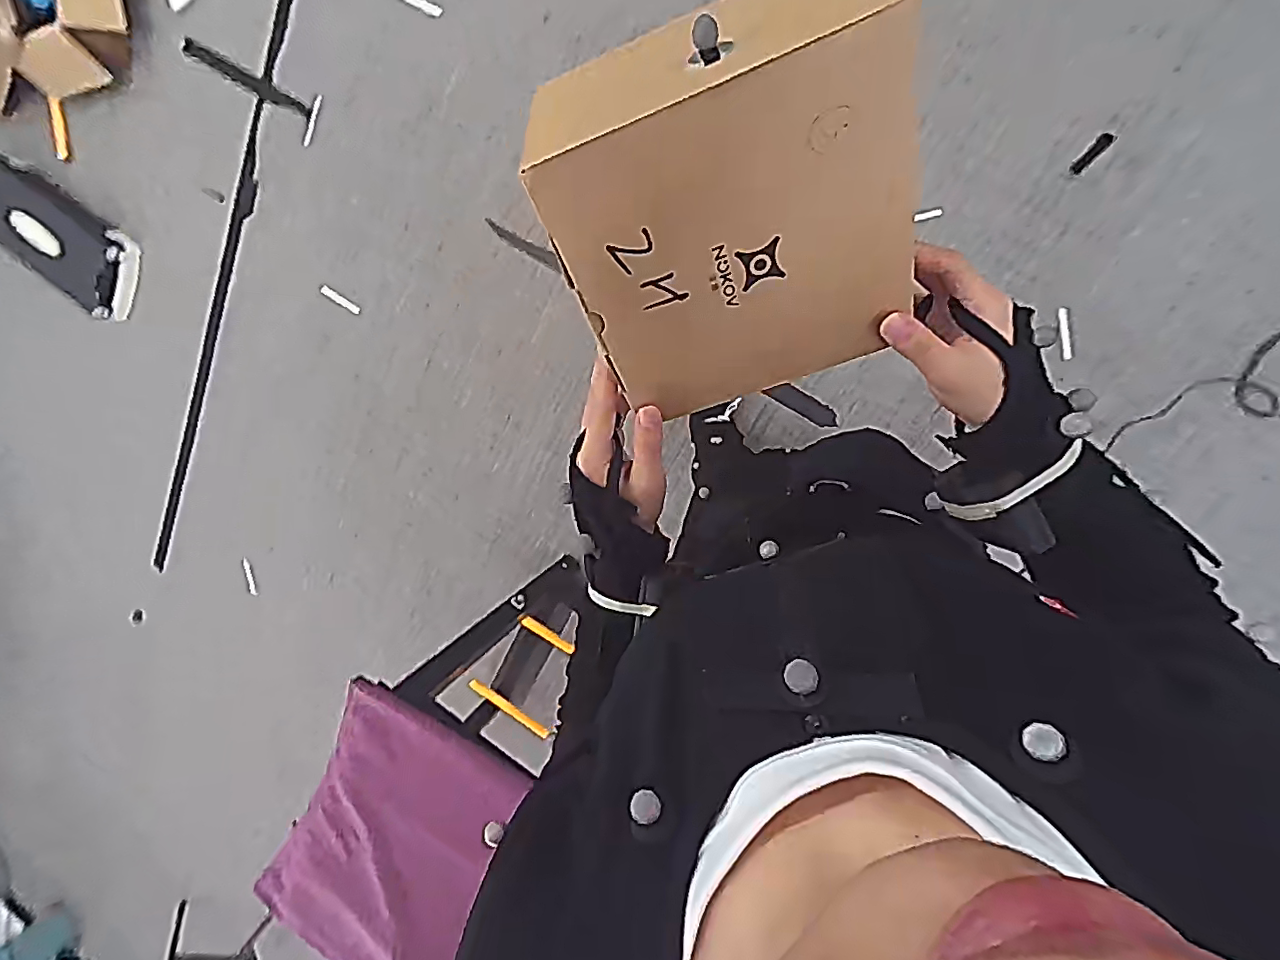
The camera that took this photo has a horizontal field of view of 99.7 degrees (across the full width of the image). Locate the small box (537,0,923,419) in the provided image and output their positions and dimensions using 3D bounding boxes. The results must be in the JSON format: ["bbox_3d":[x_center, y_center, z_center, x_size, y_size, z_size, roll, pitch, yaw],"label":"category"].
[{"bbox_3d":[0.050,-0.173,0.341,0.179,0.176,0.168,-17,135,11],"label":"small box"}]
